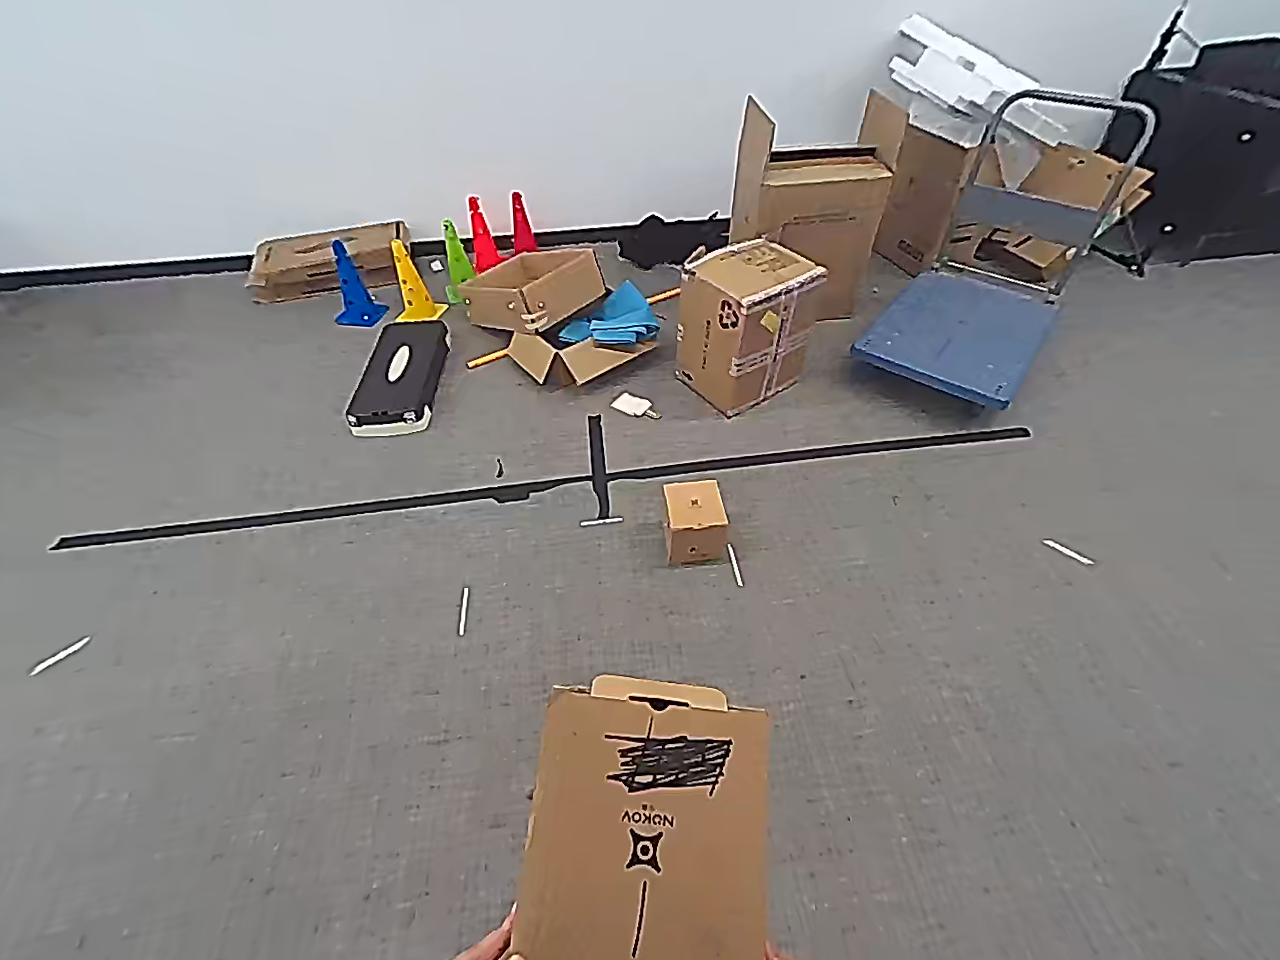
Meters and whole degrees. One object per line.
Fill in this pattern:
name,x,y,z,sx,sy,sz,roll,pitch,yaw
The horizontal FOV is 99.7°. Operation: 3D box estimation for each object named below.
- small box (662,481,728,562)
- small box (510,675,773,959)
small box,0.159,0.127,1.639,0.168,0.176,0.179,-5,48,-5
small box,0.005,0.265,0.439,0.168,0.176,0.179,6,67,1
